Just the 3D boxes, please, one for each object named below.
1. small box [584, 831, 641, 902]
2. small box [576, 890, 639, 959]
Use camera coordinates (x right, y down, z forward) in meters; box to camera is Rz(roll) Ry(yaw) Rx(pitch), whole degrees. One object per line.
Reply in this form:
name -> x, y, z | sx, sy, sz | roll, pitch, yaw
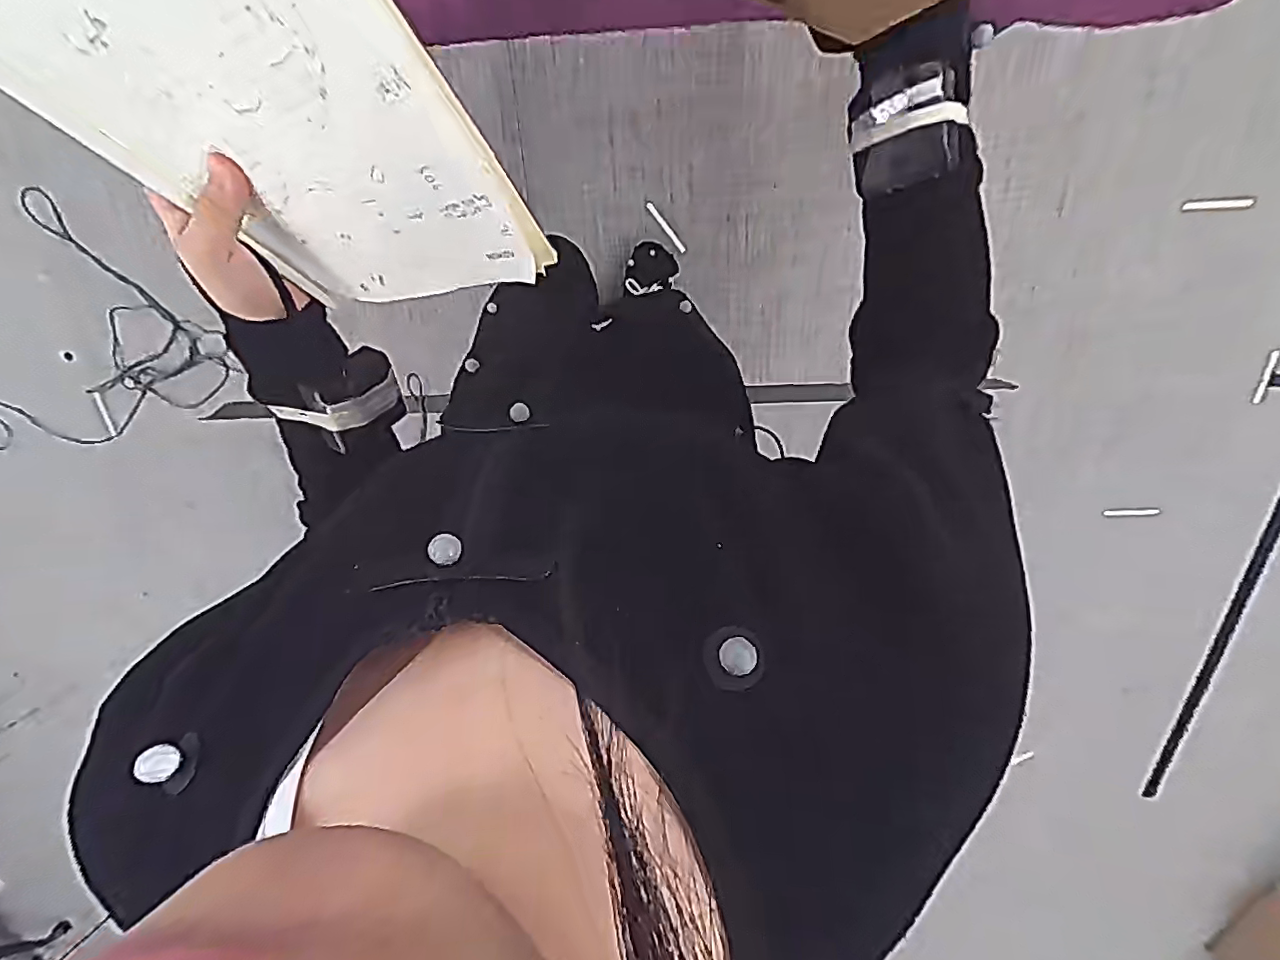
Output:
small box -> -0.084, 1.221, 1.668 | 0.168, 0.176, 0.179 | 4, 114, 0
small box -> -0.089, 1.294, 1.521 | 0.168, 0.176, 0.179 | 1, 112, 2
